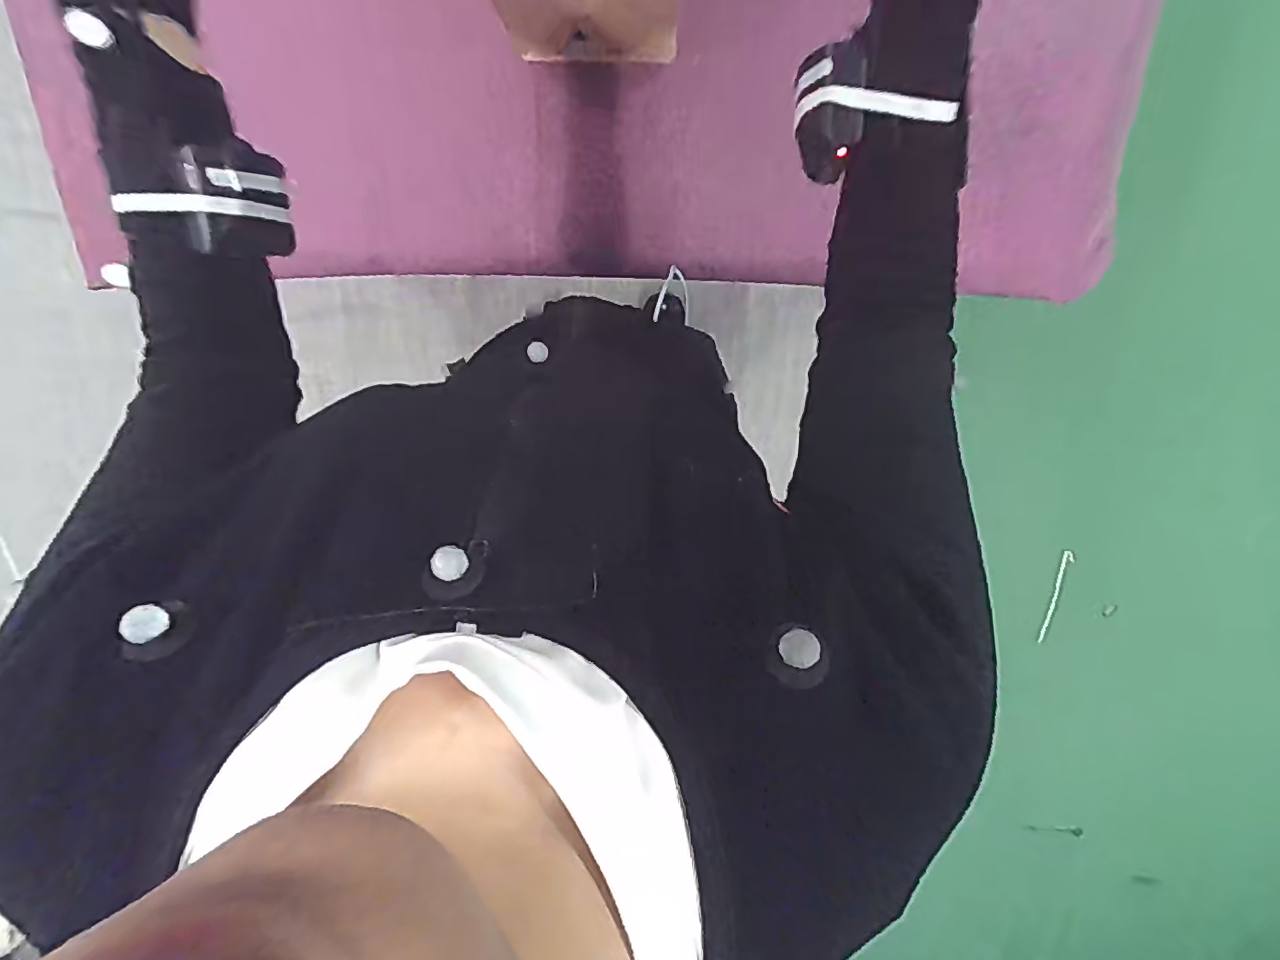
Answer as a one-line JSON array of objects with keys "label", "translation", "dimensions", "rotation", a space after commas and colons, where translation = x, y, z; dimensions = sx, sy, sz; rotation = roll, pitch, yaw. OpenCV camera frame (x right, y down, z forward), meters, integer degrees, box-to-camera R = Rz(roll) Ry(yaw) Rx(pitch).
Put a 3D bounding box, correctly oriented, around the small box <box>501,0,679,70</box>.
[{"label": "small box", "translation": [-0.046, -0.508, 0.488], "dimensions": [0.168, 0.176, 0.179], "rotation": [2, 110, 1]}]
